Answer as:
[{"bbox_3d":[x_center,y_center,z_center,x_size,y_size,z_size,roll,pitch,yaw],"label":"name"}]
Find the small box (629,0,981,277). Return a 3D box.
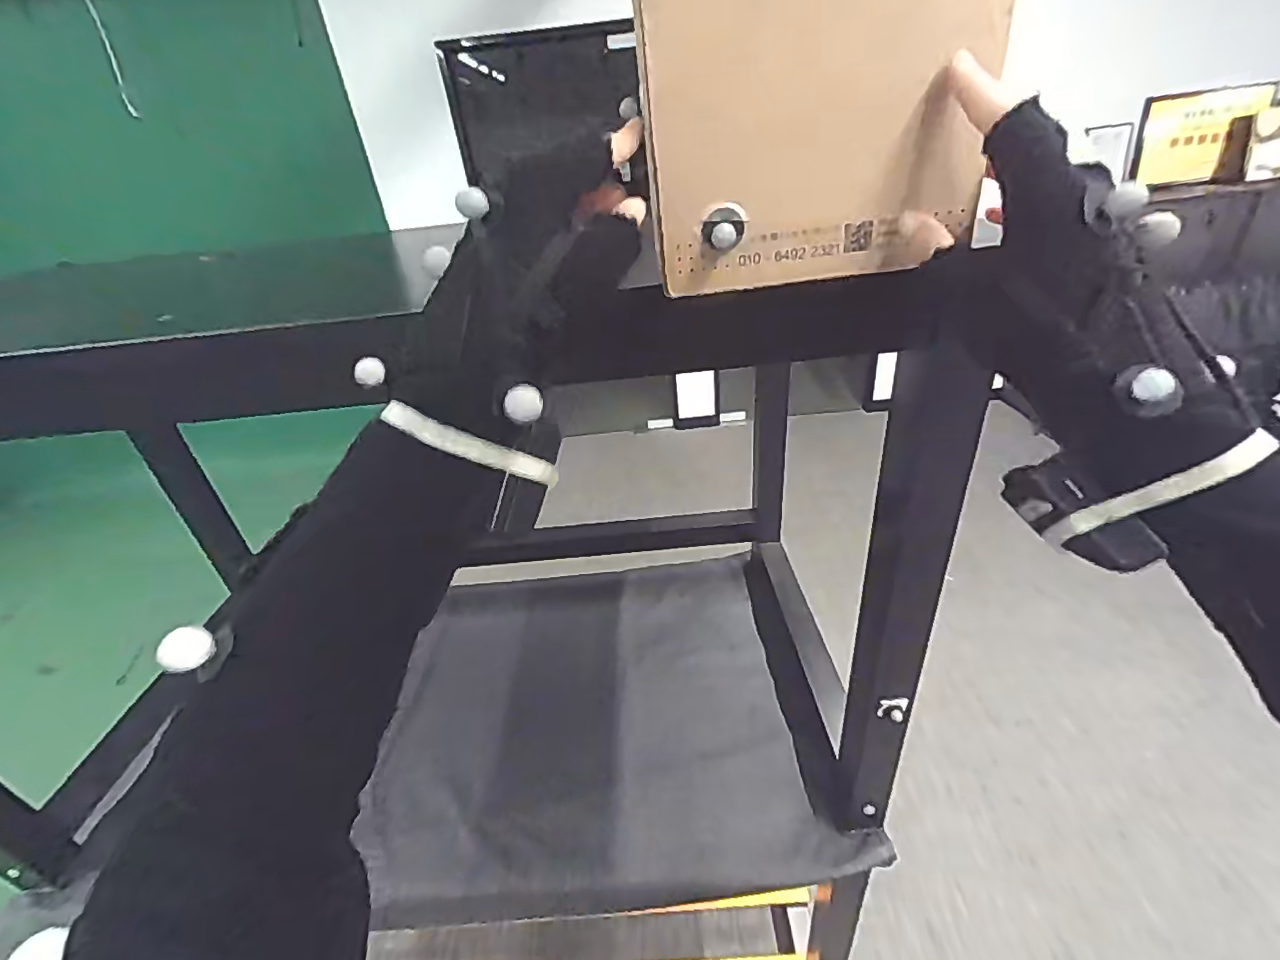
[{"bbox_3d":[0.083,-0.228,0.331,0.168,0.176,0.179,-5,30,3],"label":"small box"}]
